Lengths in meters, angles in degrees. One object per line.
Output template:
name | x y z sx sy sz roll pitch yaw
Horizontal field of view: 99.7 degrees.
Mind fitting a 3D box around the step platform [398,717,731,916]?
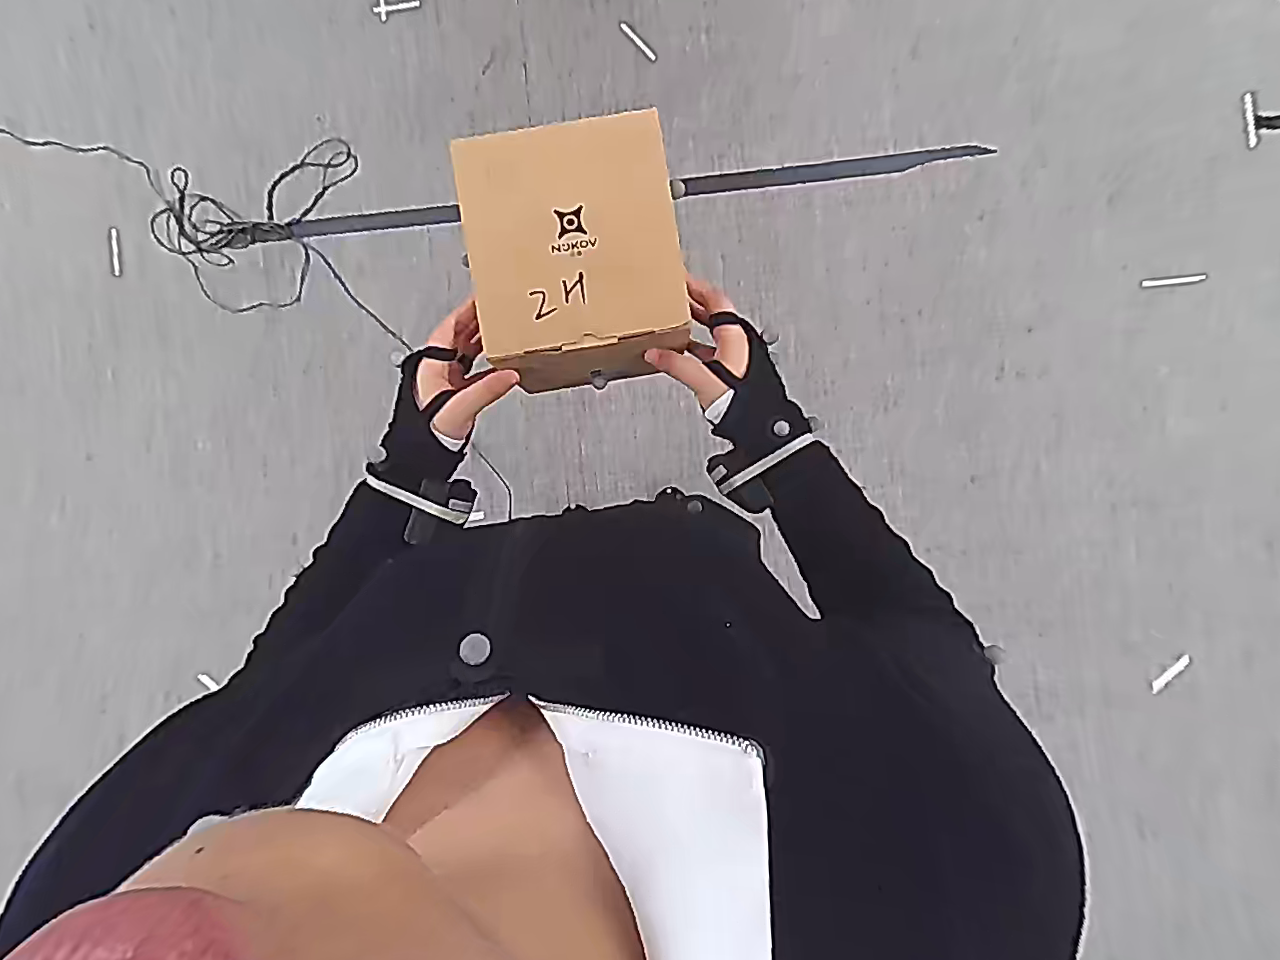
step platform | -0.154 0.722 1.190 0.684 0.204 0.286 -7 90 4
